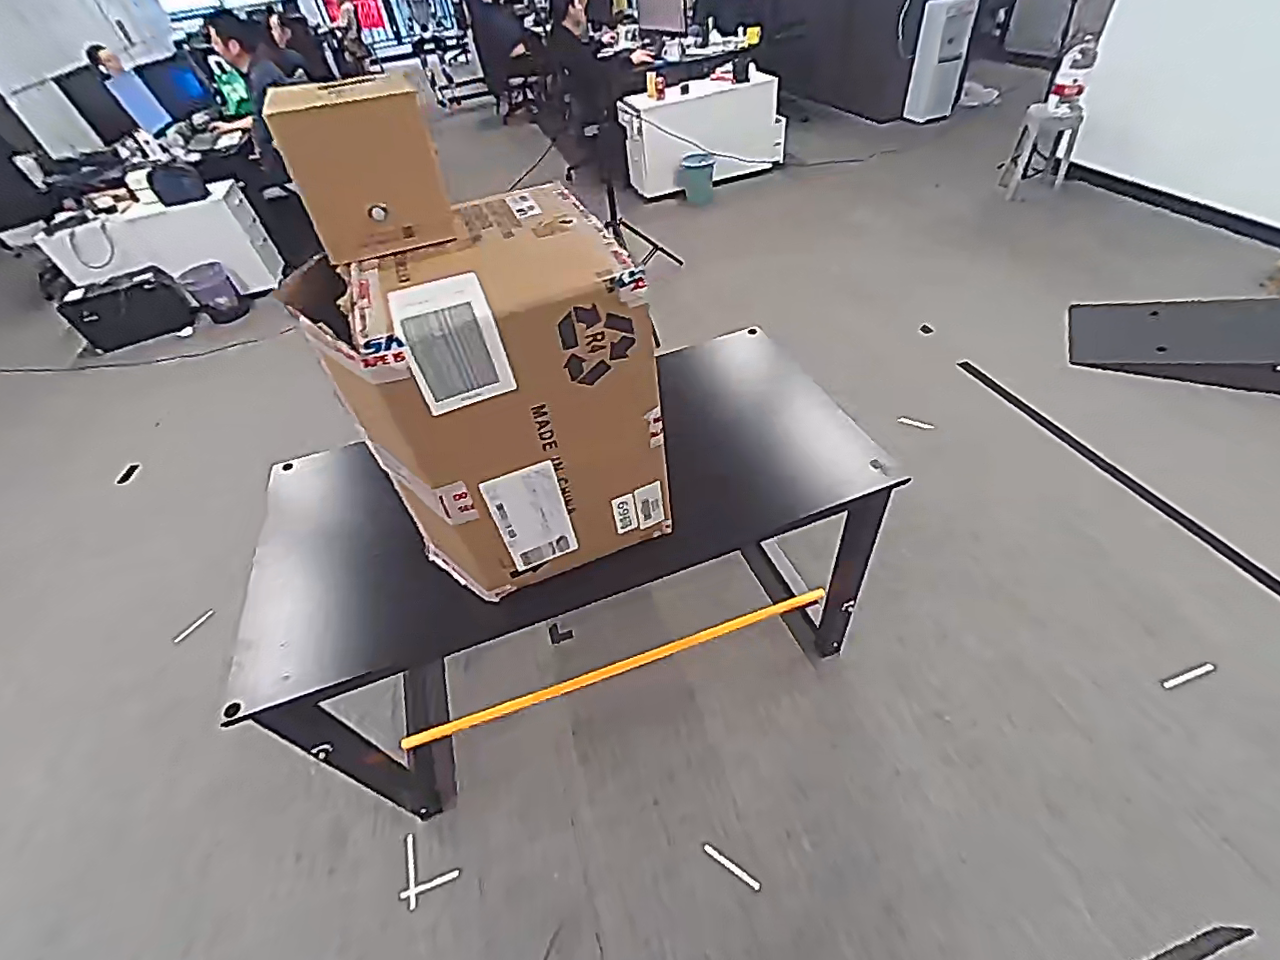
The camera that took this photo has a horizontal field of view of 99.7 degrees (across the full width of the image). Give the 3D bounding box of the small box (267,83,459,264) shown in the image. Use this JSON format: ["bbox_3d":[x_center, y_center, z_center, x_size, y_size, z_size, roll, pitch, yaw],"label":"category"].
[{"bbox_3d":[-0.356,-0.407,0.717,0.168,0.176,0.179,-20,45,-14],"label":"small box"}]
